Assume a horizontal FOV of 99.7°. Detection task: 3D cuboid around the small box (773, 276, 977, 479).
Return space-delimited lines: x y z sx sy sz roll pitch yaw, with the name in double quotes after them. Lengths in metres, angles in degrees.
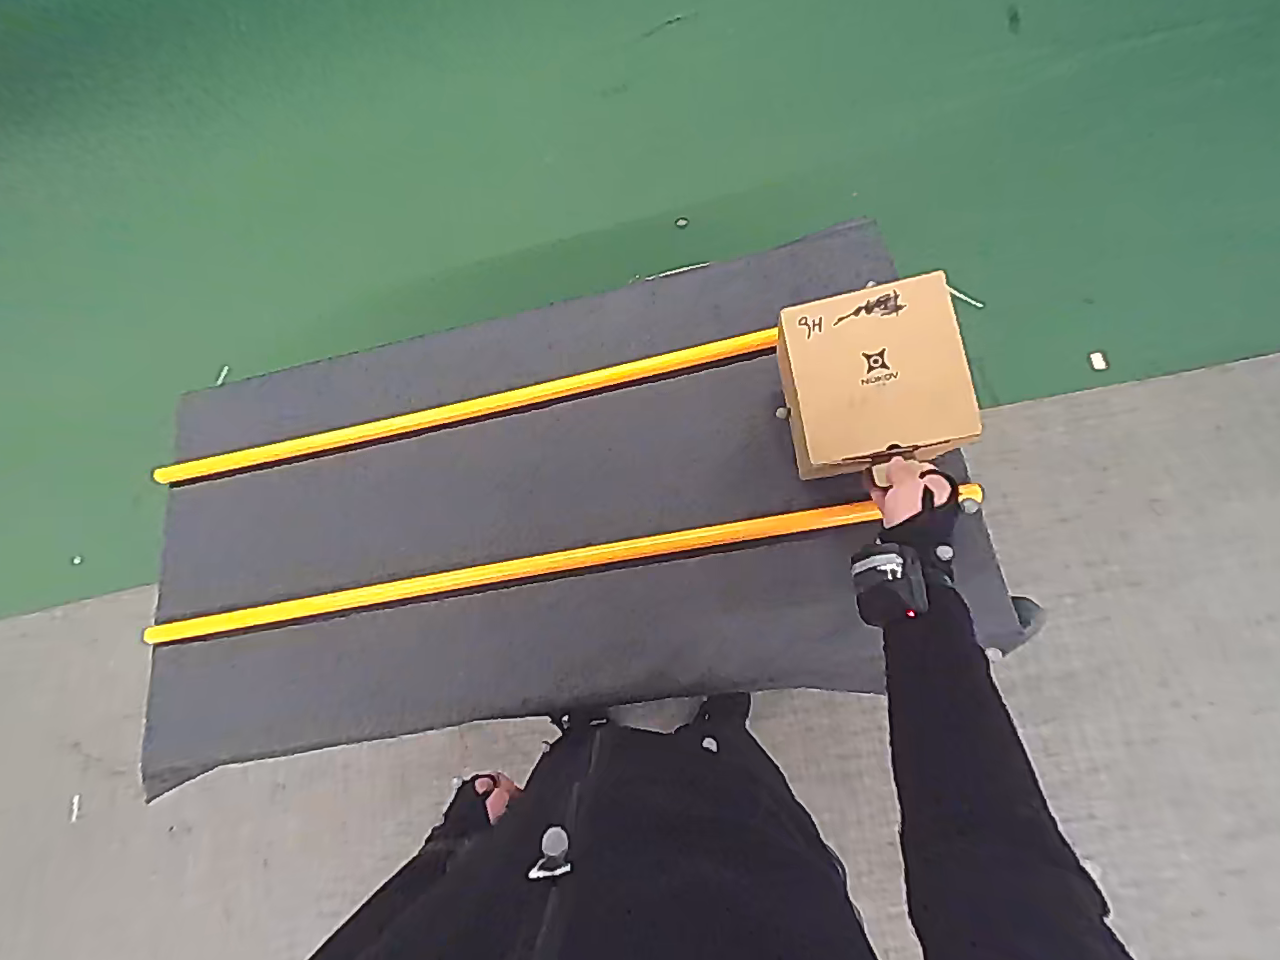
0.260 -0.102 0.635 0.168 0.176 0.179 -14 82 14 "small box"
